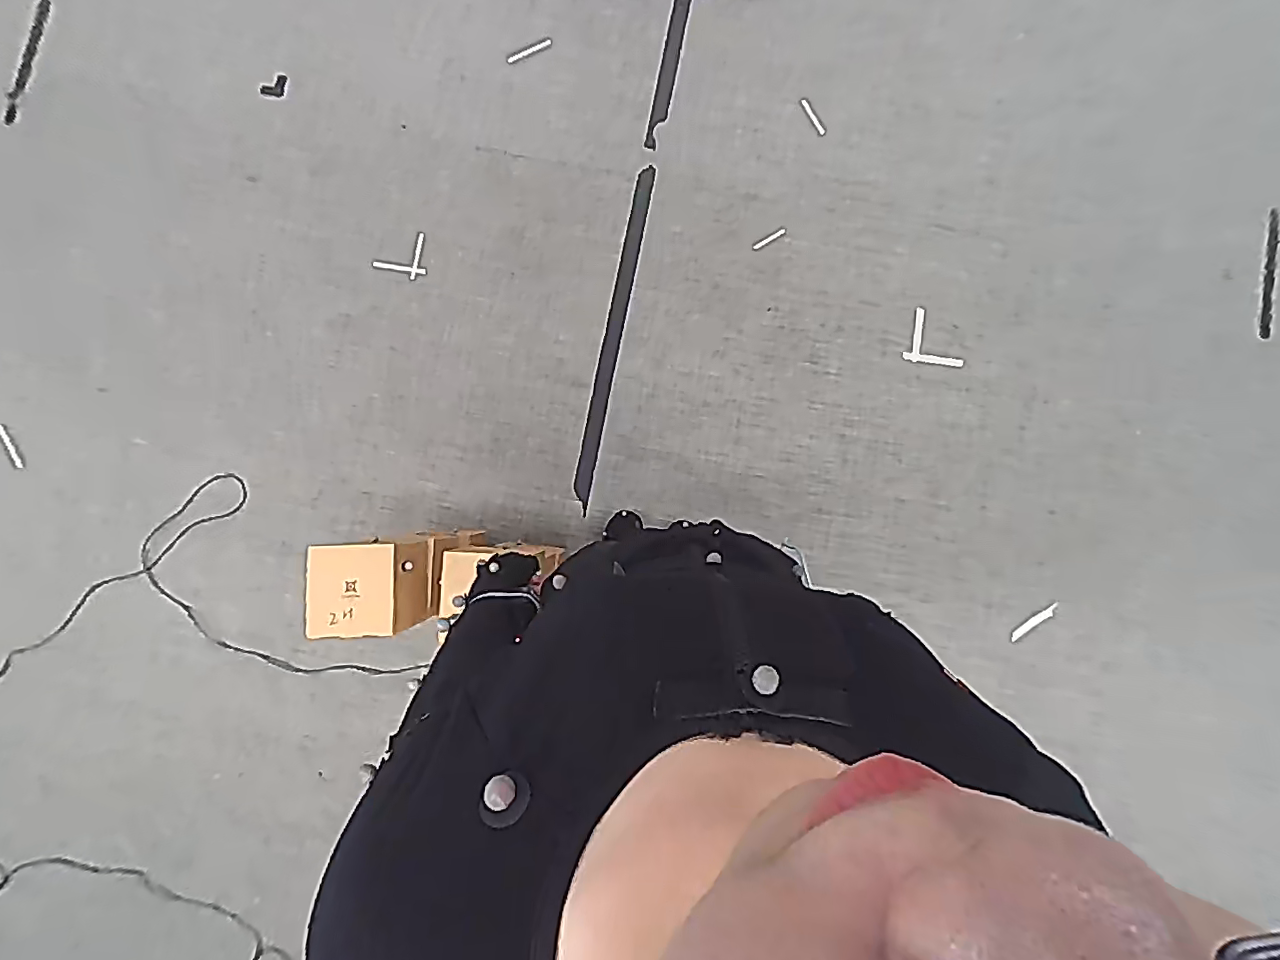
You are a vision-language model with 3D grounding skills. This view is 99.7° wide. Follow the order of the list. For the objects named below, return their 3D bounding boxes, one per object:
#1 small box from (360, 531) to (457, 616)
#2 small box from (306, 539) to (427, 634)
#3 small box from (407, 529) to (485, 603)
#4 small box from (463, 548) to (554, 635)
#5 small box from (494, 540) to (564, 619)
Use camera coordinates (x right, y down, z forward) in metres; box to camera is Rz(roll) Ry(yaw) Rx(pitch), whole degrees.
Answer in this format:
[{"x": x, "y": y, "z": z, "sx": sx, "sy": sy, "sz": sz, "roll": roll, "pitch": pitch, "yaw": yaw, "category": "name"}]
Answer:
[{"x": -0.538, "y": 0.213, "z": 1.262, "sx": 0.168, "sy": 0.176, "sz": 0.179, "roll": 2, "pitch": 85, "yaw": -1, "category": "small box"}, {"x": -0.544, "y": 0.208, "z": 1.097, "sx": 0.168, "sy": 0.176, "sz": 0.179, "roll": -1, "pitch": 86, "yaw": 0, "category": "small box"}, {"x": -0.514, "y": 0.221, "z": 1.426, "sx": 0.168, "sy": 0.176, "sz": 0.179, "roll": 1, "pitch": 86, "yaw": -1, "category": "small box"}, {"x": -0.299, "y": 0.253, "z": 1.263, "sx": 0.168, "sy": 0.176, "sz": 0.179, "roll": 4, "pitch": 86, "yaw": 0, "category": "small box"}, {"x": -0.299, "y": 0.258, "z": 1.427, "sx": 0.168, "sy": 0.176, "sz": 0.179, "roll": 8, "pitch": 87, "yaw": 0, "category": "small box"}]
